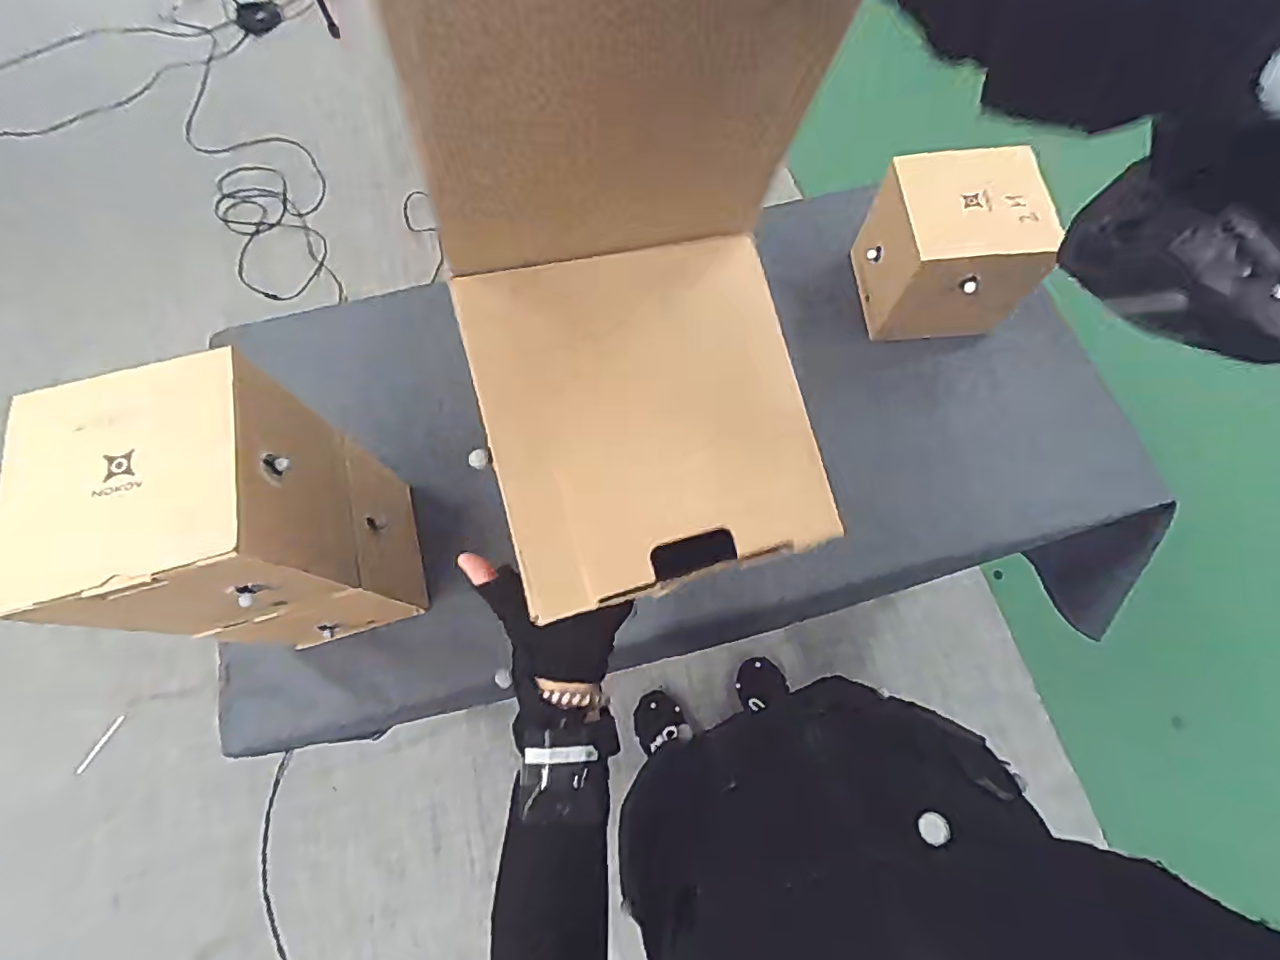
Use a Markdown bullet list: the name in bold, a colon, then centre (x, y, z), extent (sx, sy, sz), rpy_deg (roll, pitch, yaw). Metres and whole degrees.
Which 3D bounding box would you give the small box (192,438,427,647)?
- **small box**: centre (-0.365, 0.080, 0.620), extent (0.168, 0.176, 0.179), rpy_deg (-16, 70, -4)

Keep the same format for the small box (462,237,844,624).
- **small box**: centre (-0.005, -0.021, 0.345), extent (0.168, 0.176, 0.179), rpy_deg (-11, 82, -12)

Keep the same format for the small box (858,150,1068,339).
- **small box**: centre (0.410, -0.305, 0.728), extent (0.179, 0.176, 0.168), rpy_deg (-3, 71, 1)

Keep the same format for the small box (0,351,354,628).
- **small box**: centre (-0.370, 0.023, 0.467), extent (0.168, 0.176, 0.179), rpy_deg (-14, 70, -4)
